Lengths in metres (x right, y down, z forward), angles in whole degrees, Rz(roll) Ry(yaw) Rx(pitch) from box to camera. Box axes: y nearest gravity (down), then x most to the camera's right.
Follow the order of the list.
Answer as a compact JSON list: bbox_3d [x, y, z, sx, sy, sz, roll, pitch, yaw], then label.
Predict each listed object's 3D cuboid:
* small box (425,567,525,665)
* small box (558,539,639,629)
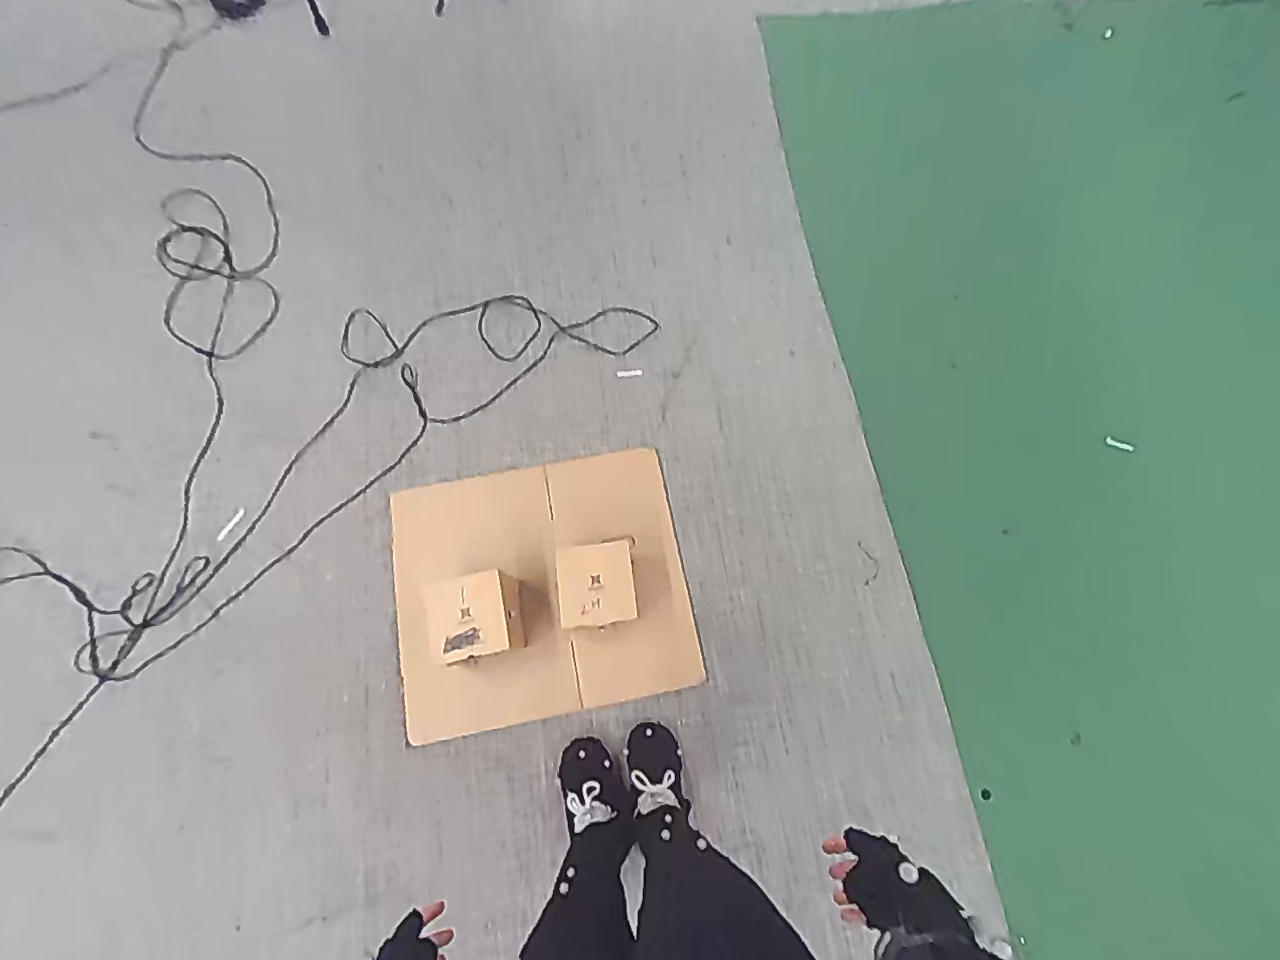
[{"bbox_3d":[-0.366,0.307,1.219,0.168,0.176,0.179,-12,73,-5],"label":"small box"},{"bbox_3d":[-0.094,0.244,1.247,0.168,0.176,0.179,-6,74,-2],"label":"small box"}]
